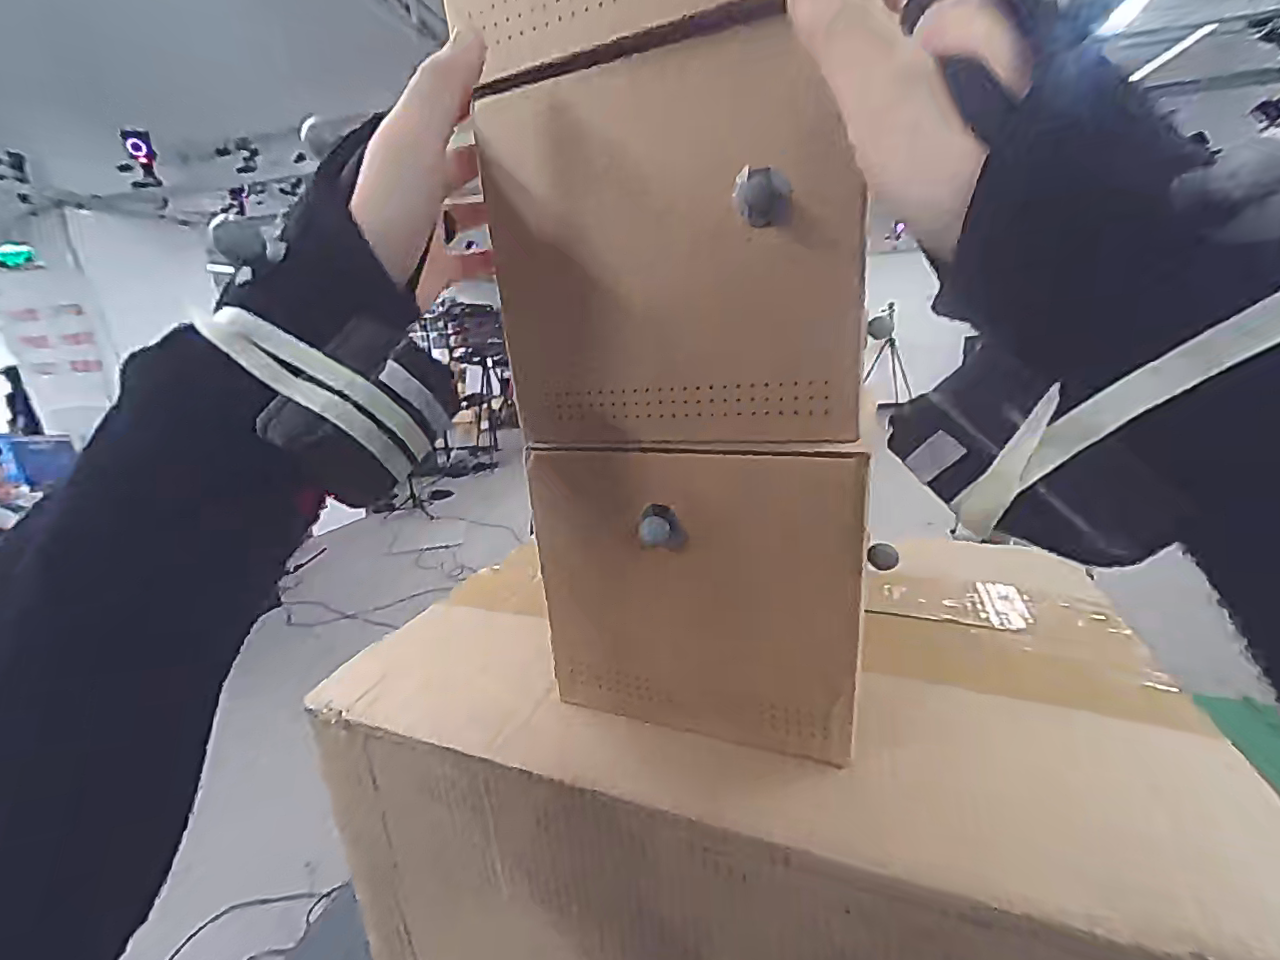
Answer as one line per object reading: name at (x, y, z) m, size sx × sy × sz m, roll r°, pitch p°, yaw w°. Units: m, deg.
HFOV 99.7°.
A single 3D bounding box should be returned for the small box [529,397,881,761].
small box at (0.056, 0.046, 0.353) m, size 0.179 × 0.176 × 0.168 m, roll 3°, pitch 19°, yaw 23°
